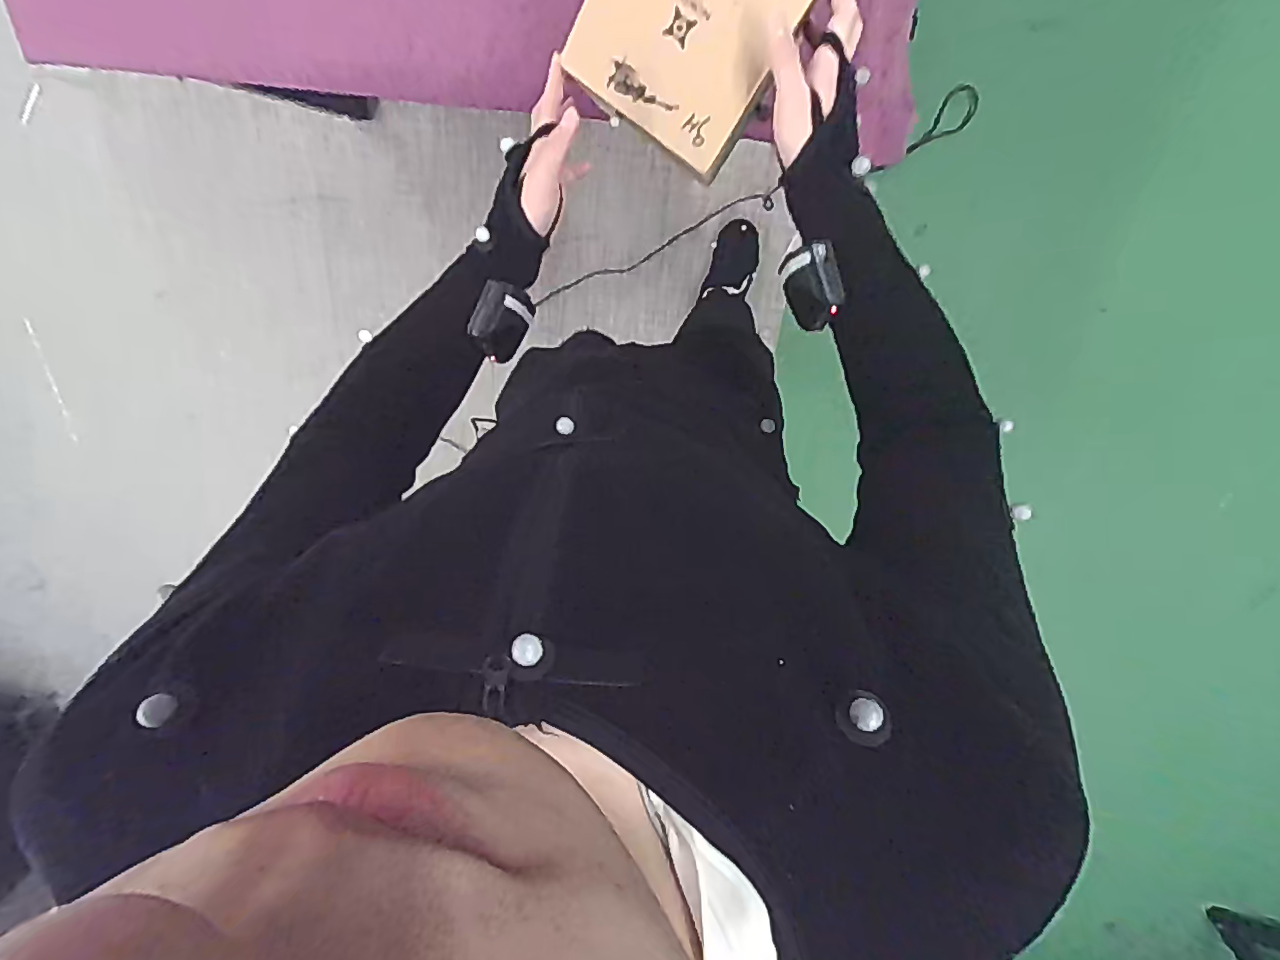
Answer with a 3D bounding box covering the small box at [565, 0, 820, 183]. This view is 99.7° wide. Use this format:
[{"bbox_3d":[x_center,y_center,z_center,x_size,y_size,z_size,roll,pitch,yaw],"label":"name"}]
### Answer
[{"bbox_3d":[0.053,-0.428,0.536,0.168,0.176,0.179,34,115,-7],"label":"small box"}]
